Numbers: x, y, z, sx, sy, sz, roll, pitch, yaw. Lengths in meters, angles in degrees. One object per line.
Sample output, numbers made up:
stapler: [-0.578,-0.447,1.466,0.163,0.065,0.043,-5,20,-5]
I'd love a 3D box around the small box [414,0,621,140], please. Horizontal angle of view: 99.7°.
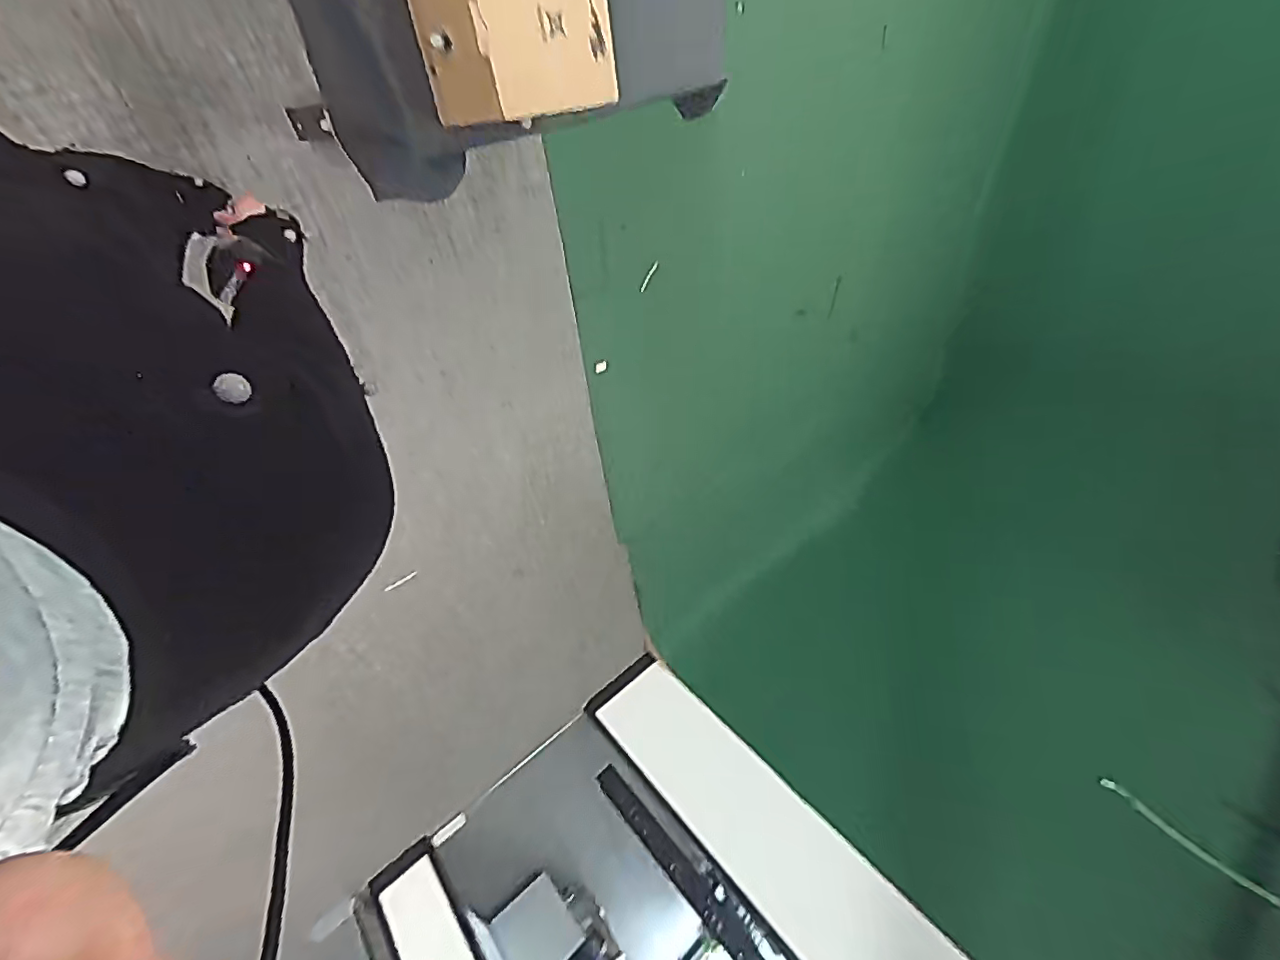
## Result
small box: [-0.151,-0.524,0.656,0.179,0.176,0.168,-31,131,-28]
